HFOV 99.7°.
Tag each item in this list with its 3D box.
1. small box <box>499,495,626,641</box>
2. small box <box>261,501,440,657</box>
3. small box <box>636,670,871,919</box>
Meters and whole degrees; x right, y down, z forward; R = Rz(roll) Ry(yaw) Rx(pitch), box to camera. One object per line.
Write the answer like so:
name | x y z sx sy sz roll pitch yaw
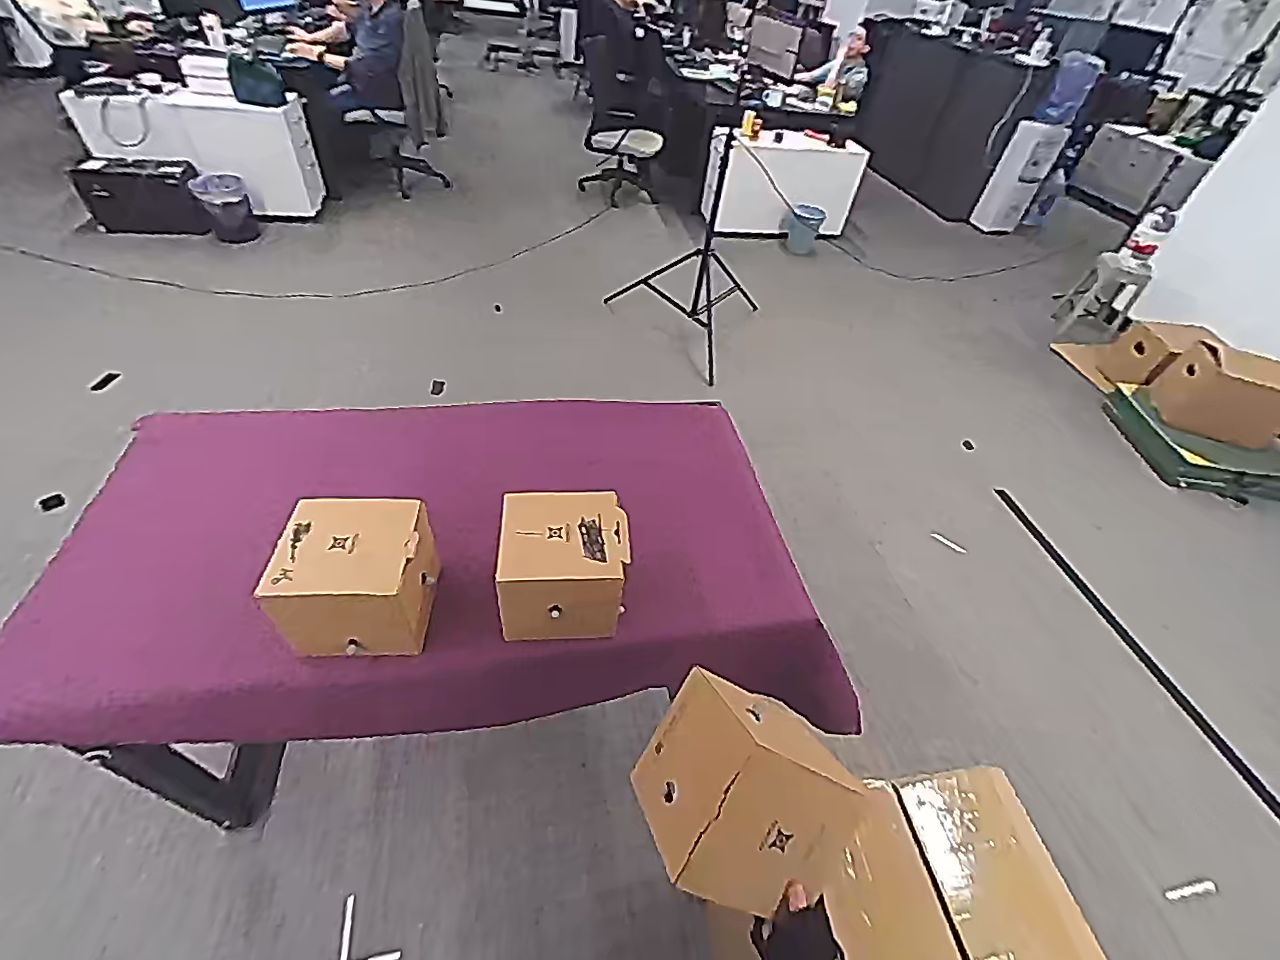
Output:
small box | -0.120 0.140 0.855 0.179 0.176 0.168 0 45 -7
small box | -0.408 0.150 0.804 0.179 0.176 0.168 1 45 -8
small box | 0.119 0.351 0.634 0.179 0.168 0.176 30 -1 -18
